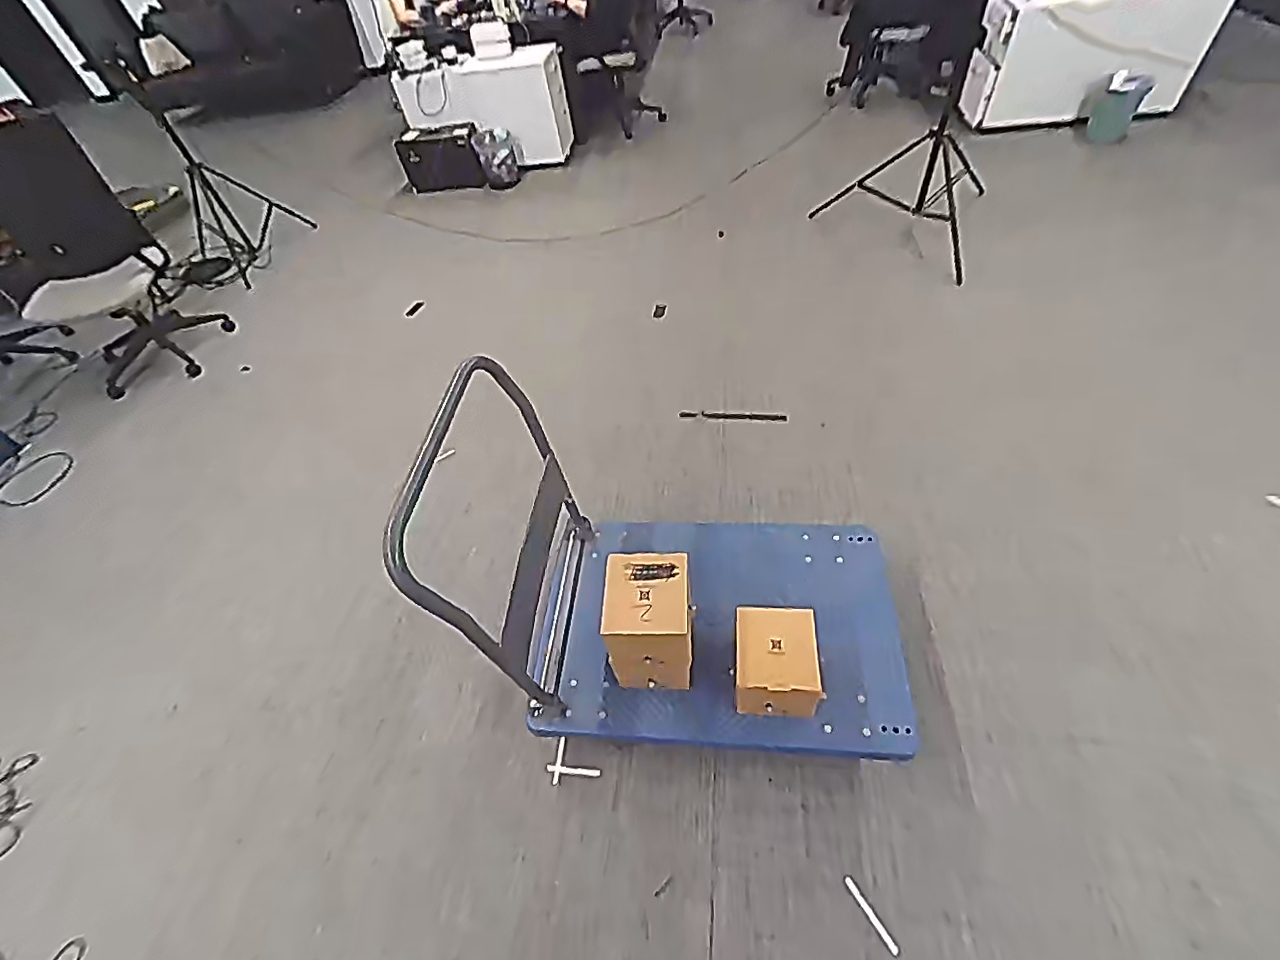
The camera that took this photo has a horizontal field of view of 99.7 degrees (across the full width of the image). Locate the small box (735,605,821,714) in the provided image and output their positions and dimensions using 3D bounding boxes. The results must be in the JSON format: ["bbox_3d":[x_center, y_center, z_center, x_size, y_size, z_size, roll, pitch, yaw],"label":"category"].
[{"bbox_3d":[0.294,0.393,1.186,0.168,0.176,0.179,-1,51,9],"label":"small box"}]

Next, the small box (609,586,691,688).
[{"bbox_3d":[0.030,0.363,1.252,0.168,0.176,0.179,-2,51,8],"label":"small box"}]
